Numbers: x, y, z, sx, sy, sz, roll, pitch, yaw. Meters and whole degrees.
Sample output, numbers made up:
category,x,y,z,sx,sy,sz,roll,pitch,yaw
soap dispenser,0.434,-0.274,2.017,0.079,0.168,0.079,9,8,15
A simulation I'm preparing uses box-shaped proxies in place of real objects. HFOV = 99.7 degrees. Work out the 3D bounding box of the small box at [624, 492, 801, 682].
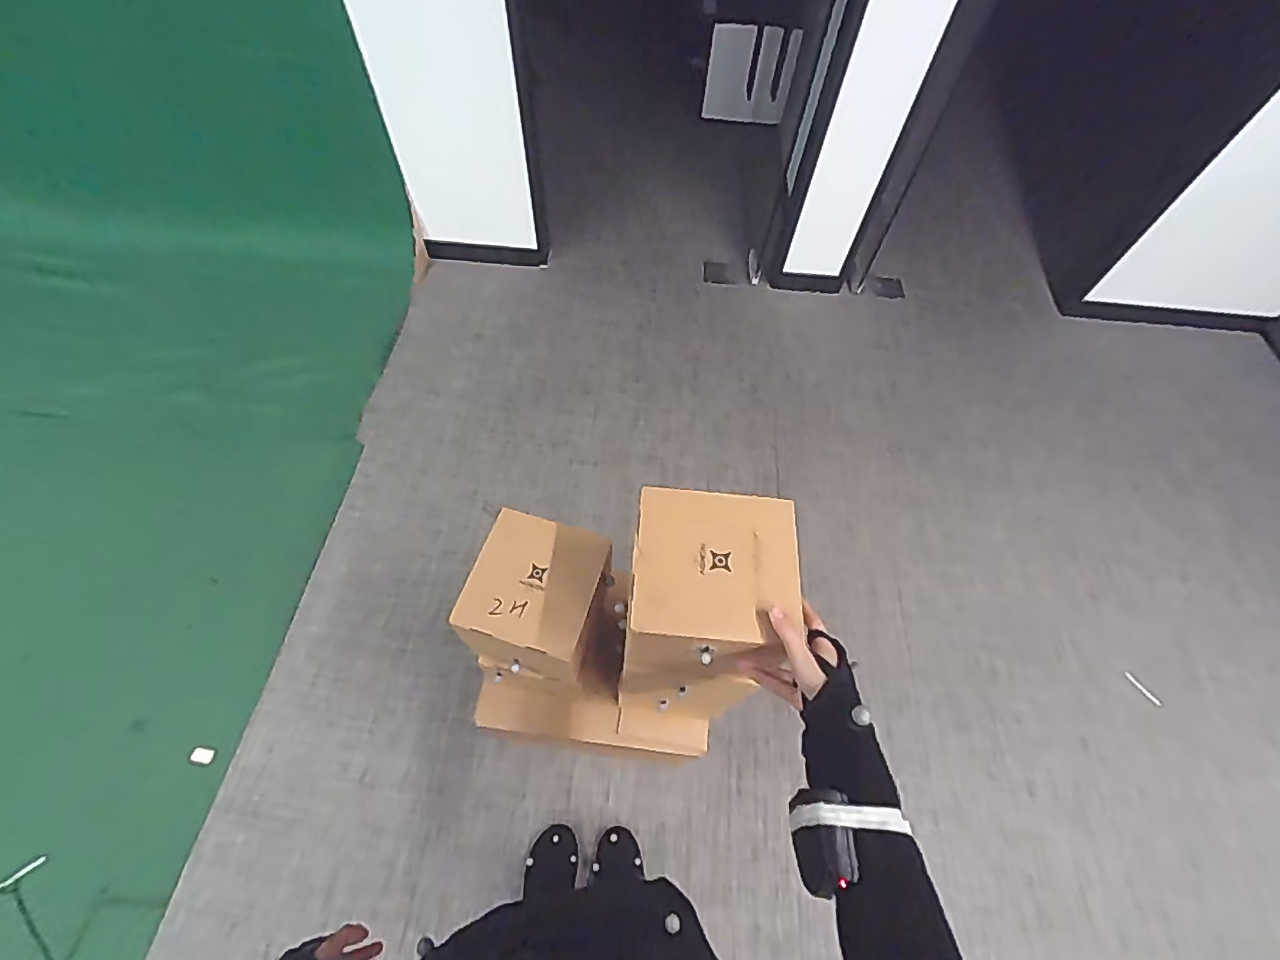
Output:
category,x,y,z,sx,sy,sz,roll,pitch,yaw
small box,0.076,0.132,0.636,0.179,0.176,0.168,6,59,1
